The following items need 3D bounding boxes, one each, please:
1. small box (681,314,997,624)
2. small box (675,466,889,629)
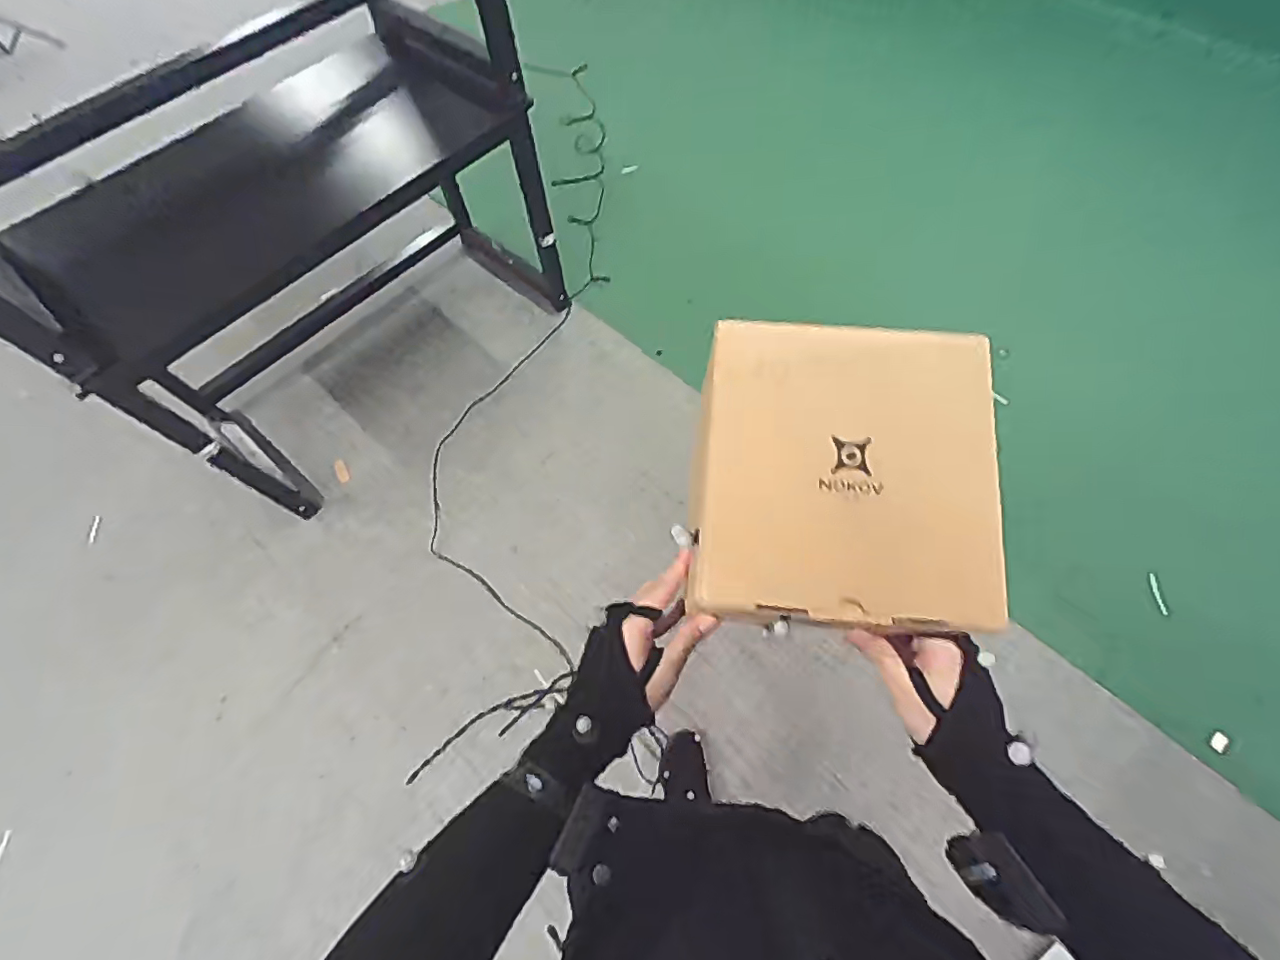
[{"bbox_3d":[0.118,0.006,0.388,0.168,0.176,0.179,4,76,4],"label":"small box"},{"bbox_3d":[0.129,0.055,0.543,0.179,0.176,0.168,4,76,4],"label":"small box"}]
